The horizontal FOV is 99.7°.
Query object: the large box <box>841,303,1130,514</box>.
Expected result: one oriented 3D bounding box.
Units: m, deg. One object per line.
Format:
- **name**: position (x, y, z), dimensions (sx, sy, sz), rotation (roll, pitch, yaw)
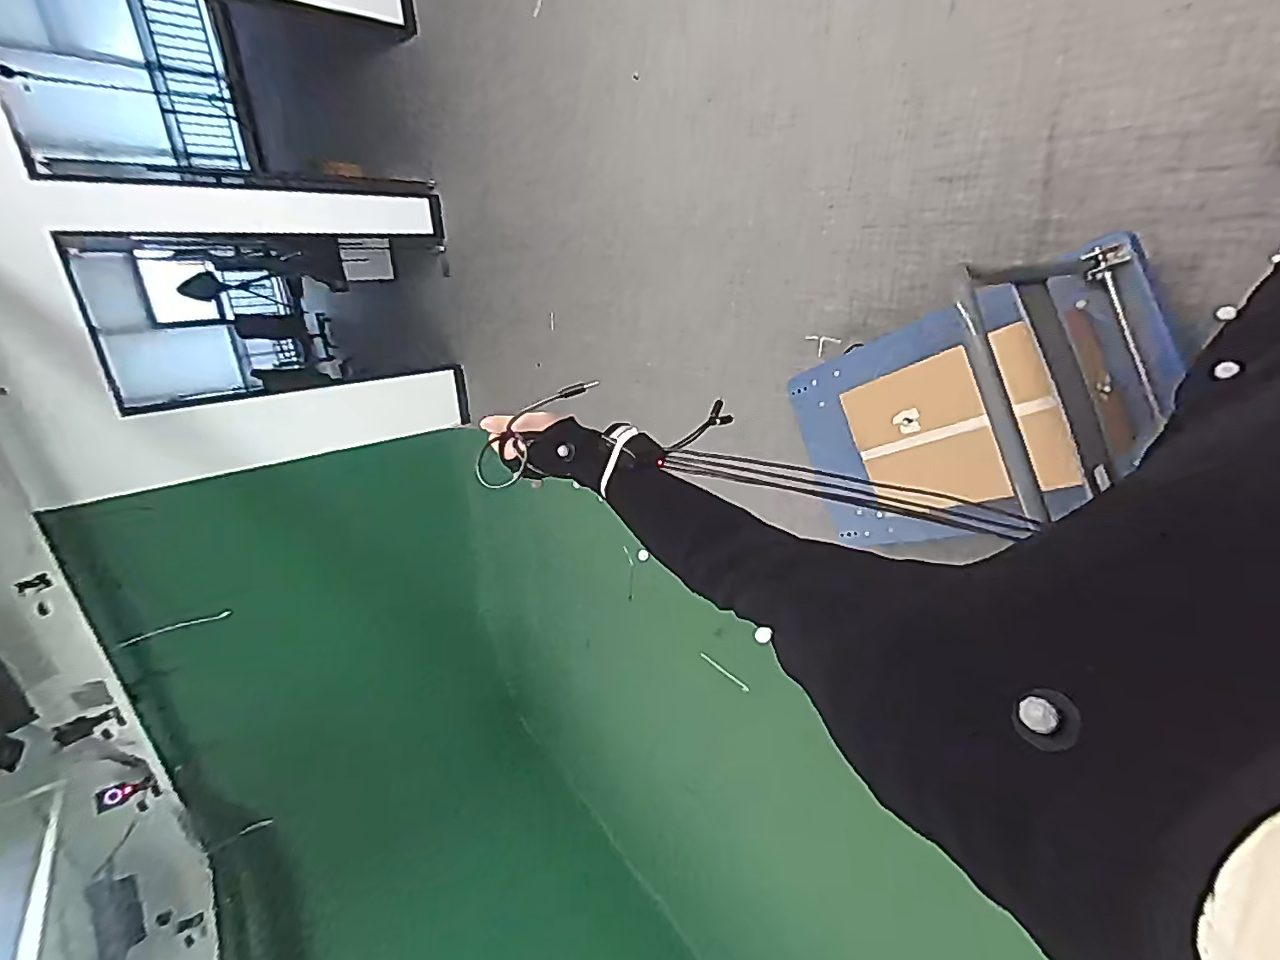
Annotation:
- **large box**: position (0.747, -0.147, 1.198), dimensions (0.408, 0.320, 0.320), rotation (-22, 87, 55)
